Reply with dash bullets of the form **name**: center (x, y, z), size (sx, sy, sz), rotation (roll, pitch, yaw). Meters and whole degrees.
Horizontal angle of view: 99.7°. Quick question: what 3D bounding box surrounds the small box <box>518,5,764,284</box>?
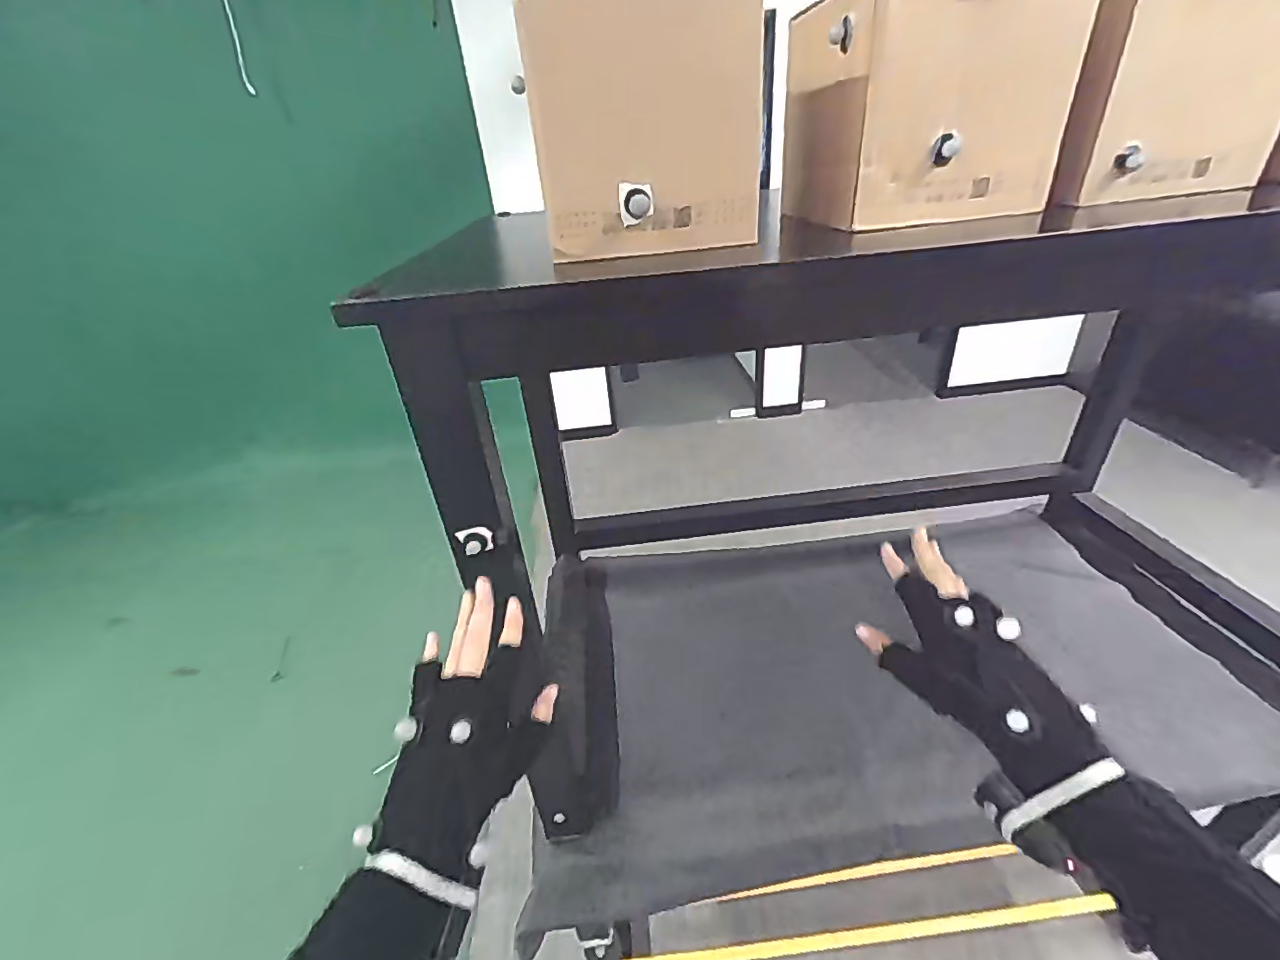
- **small box**: center (-0.001, -0.274, 0.464), size (0.168, 0.176, 0.179), rotation (-9, 32, -3)
